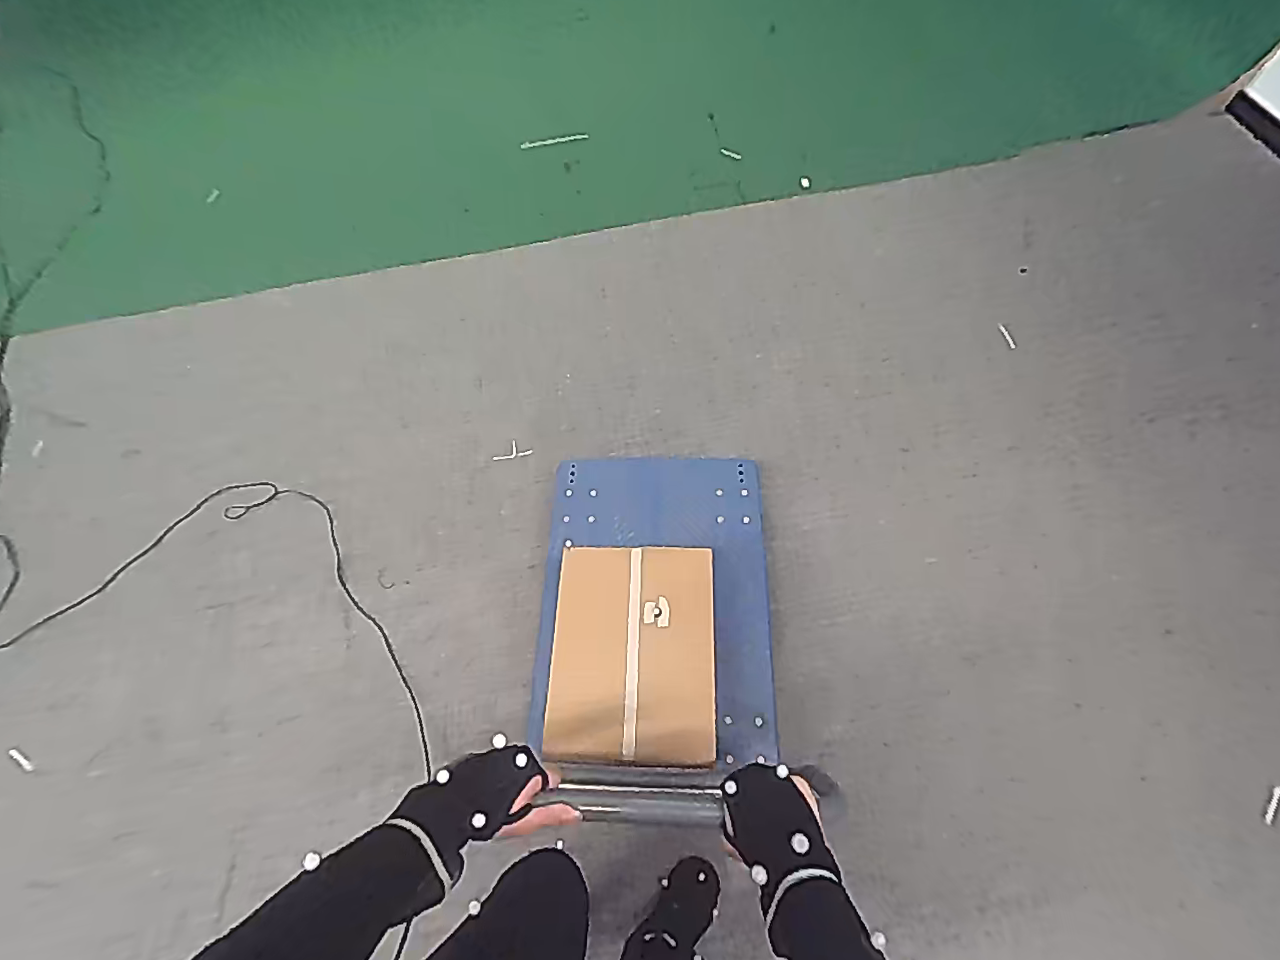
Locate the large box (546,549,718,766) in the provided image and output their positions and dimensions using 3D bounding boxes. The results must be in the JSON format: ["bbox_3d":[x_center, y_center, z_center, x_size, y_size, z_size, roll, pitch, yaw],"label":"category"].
[{"bbox_3d":[-0.005,0.394,1.178,0.320,0.320,0.408,0,62,3],"label":"large box"}]
